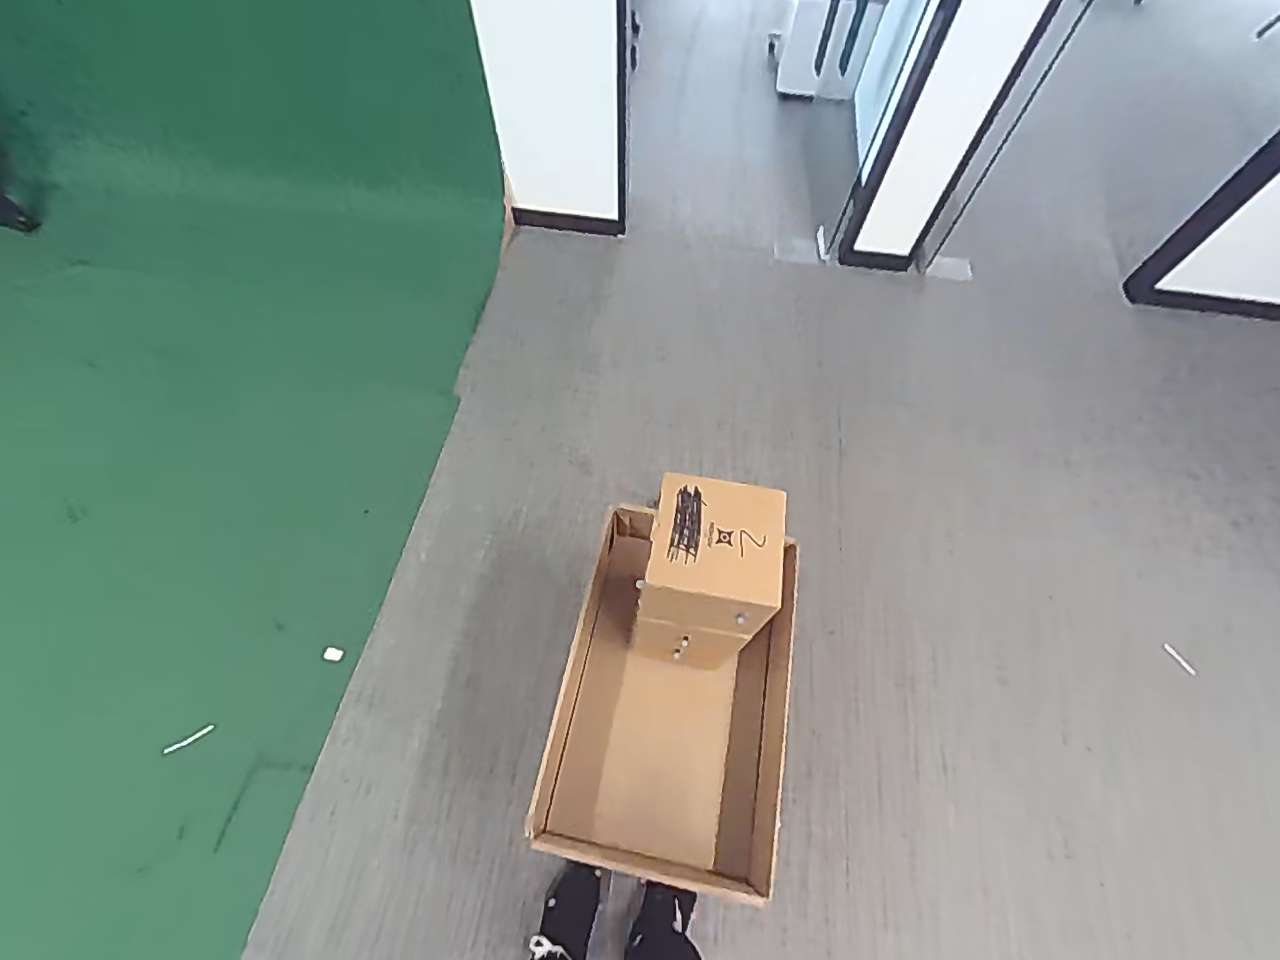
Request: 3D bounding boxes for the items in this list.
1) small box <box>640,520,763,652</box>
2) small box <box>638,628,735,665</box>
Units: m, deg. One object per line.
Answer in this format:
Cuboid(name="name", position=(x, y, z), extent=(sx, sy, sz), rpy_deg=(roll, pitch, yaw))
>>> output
Cuboid(name="small box", position=(0.100, 0.187, 0.923), extent=(0.179, 0.176, 0.168), rpy_deg=(9, 63, 4))
Cuboid(name="small box", position=(0.097, 0.259, 1.070), extent=(0.179, 0.176, 0.168), rpy_deg=(11, 63, 5))
